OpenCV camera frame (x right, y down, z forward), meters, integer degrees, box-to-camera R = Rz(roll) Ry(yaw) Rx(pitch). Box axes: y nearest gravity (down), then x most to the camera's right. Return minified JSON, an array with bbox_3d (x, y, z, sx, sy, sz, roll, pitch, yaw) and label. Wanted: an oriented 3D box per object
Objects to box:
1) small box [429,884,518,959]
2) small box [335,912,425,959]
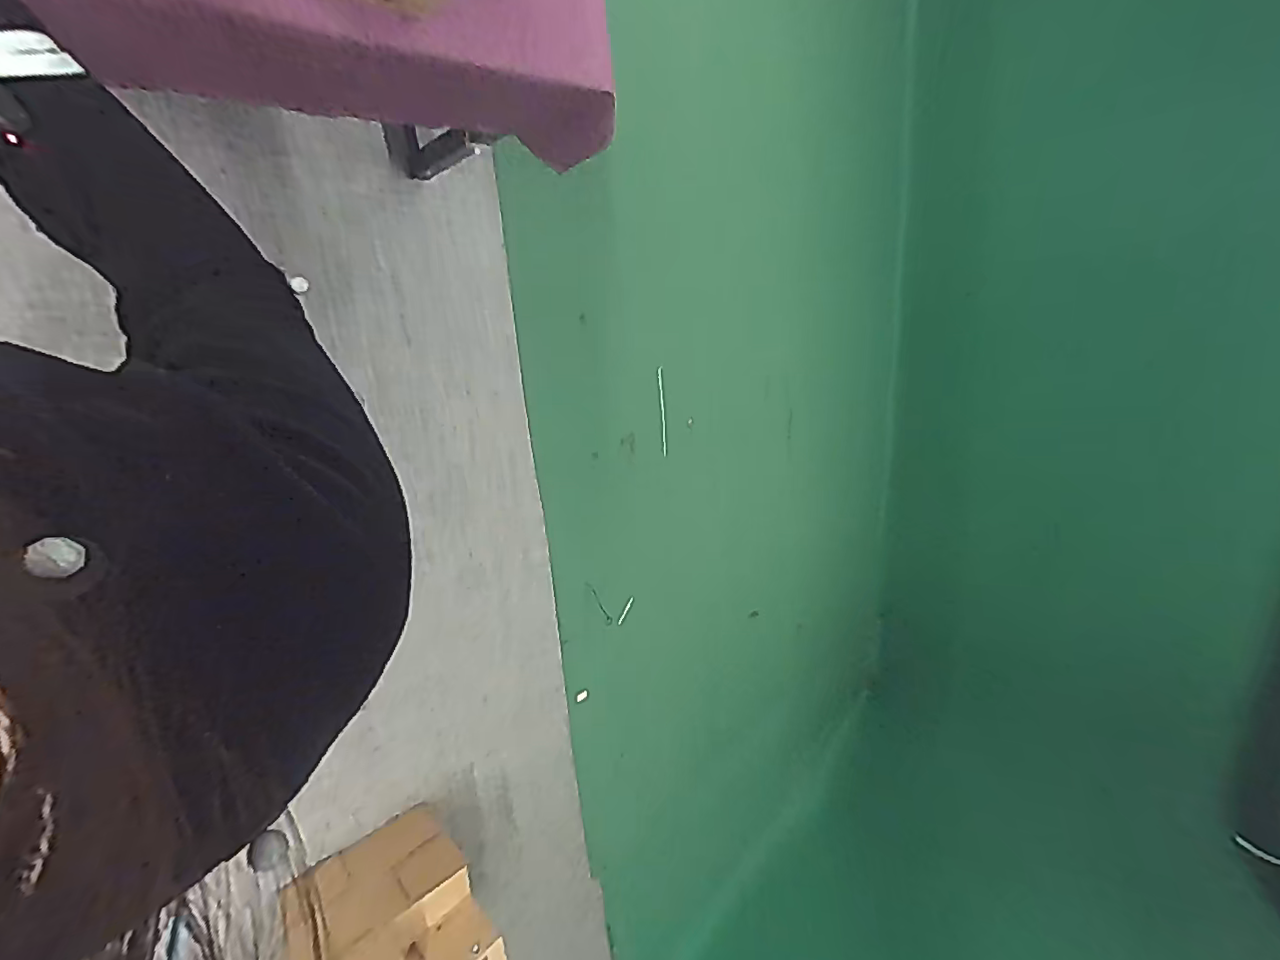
[{"bbox_3d":[-0.450,1.263,1.466,0.168,0.176,0.179,-19,114,-43],"label":"small box"},{"bbox_3d":[-0.615,1.195,1.278,0.179,0.176,0.168,-20,114,-42],"label":"small box"}]
